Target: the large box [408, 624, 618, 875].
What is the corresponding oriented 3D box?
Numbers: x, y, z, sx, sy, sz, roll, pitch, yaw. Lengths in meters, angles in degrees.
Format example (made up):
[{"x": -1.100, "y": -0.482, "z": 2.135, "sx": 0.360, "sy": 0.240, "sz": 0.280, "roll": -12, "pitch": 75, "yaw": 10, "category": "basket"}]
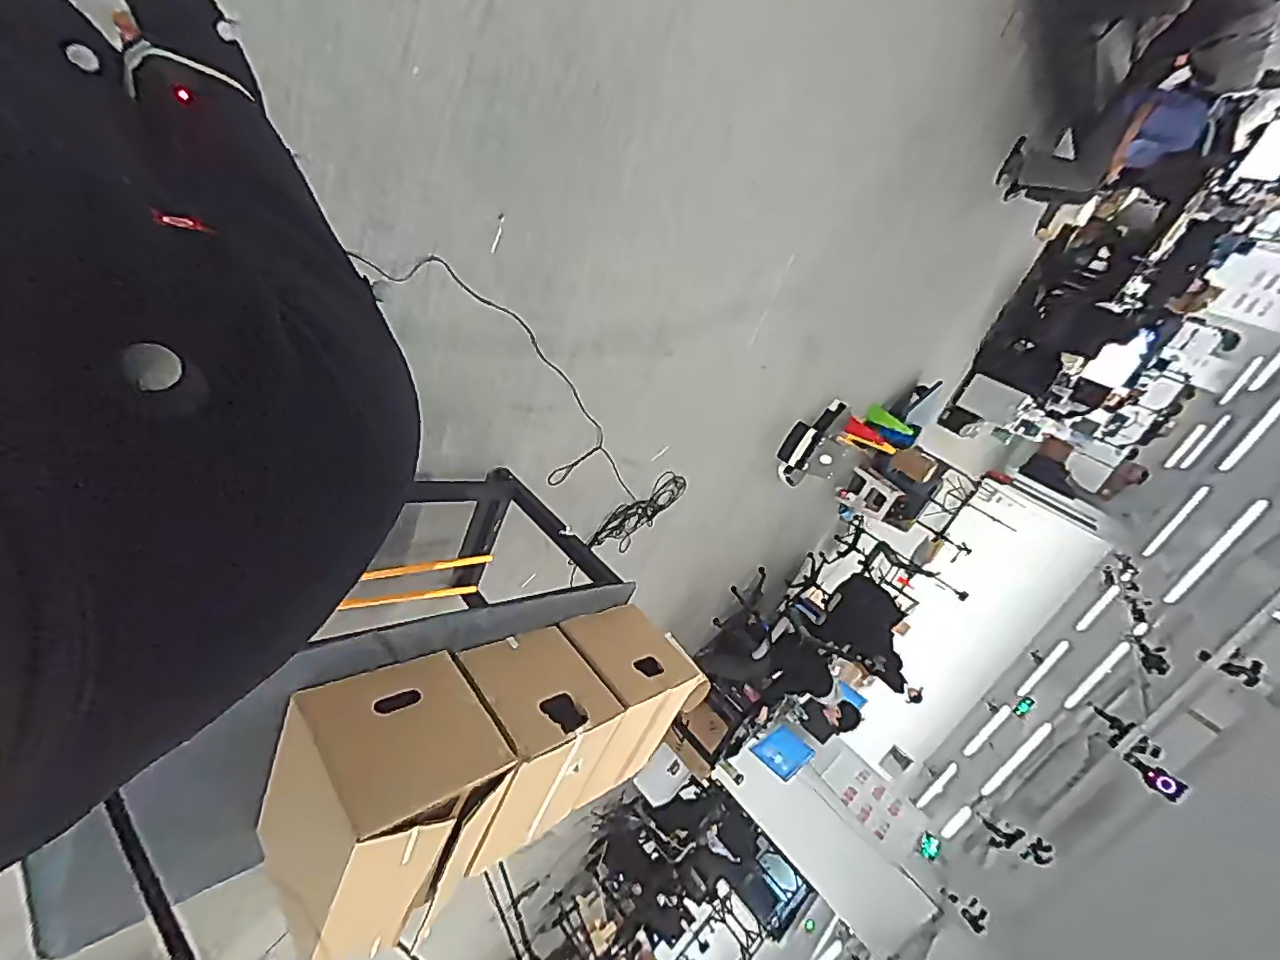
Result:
[{"x": -0.322, "y": 0.630, "z": 1.323, "sx": 0.320, "sy": 0.320, "sz": 0.408, "roll": -2, "pitch": 123, "yaw": -51, "category": "large box"}]
